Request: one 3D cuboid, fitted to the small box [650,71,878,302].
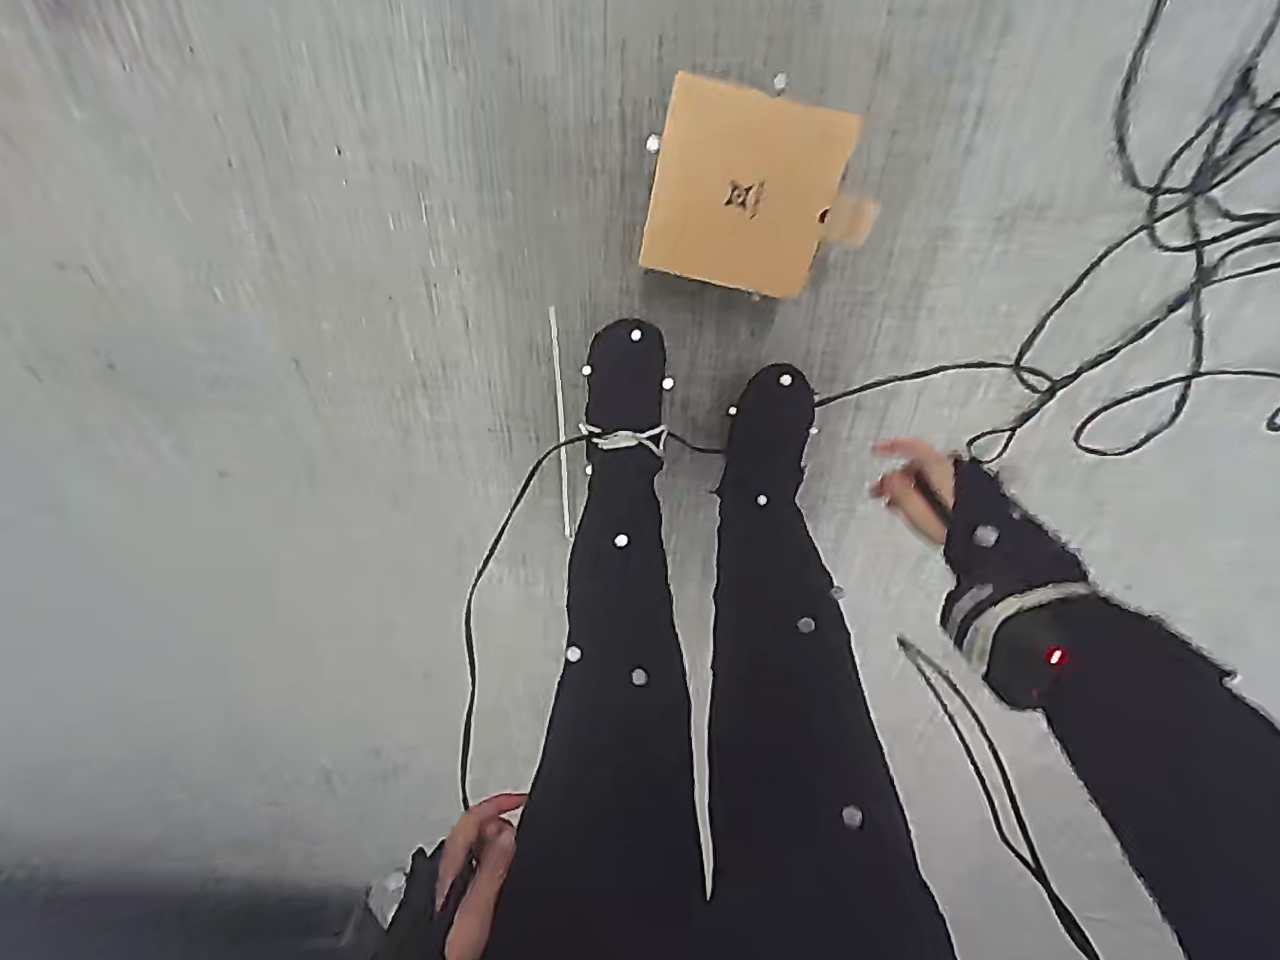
[{"bbox_3d":[0.114,-0.311,0.581,0.179,0.176,0.168,11,123,-5],"label":"small box"}]
